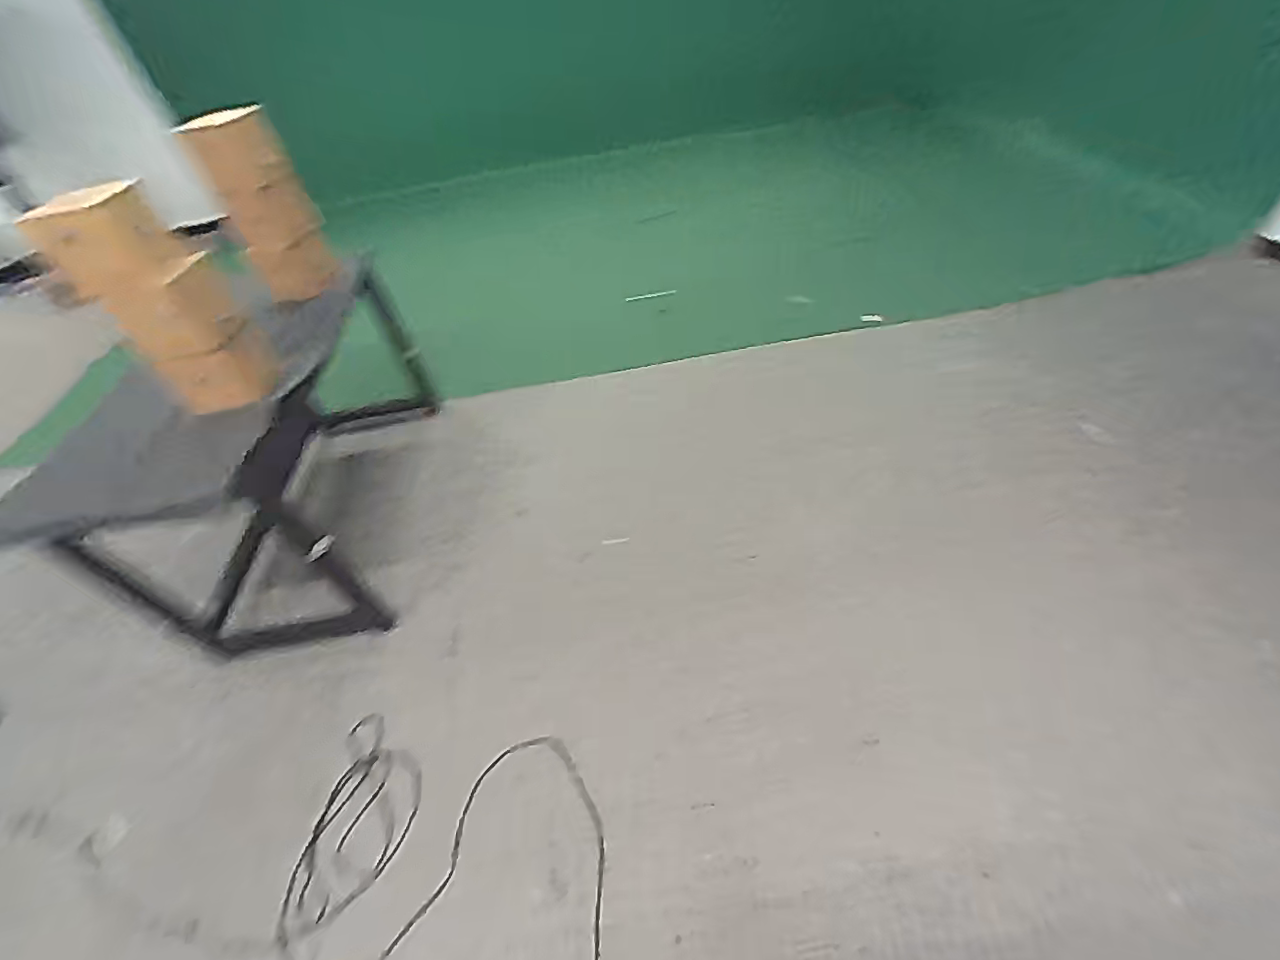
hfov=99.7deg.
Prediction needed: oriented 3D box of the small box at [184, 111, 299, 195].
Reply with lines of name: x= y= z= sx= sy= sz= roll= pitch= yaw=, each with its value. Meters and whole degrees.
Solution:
small box: x=-1.166 y=-0.960 z=1.598 sx=0.179 sy=0.176 sz=0.168 roll=-3 pitch=47 yaw=8

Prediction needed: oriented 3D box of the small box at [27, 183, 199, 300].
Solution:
small box: x=-1.132 y=-0.520 z=1.184 sx=0.179 sy=0.176 sz=0.168 roll=-10 pitch=47 yaw=2

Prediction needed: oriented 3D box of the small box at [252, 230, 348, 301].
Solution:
small box: x=-1.131 y=-0.718 z=1.816 sx=0.179 sy=0.176 sz=0.168 roll=4 pitch=48 yaw=17

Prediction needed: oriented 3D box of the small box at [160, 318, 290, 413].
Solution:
small box: x=-1.075 y=-0.296 z=1.417 sx=0.179 sy=0.176 sz=0.168 roll=-11 pitch=47 yaw=2

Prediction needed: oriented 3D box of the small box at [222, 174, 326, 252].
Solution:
small box: x=-1.147 y=-0.843 z=1.711 sx=0.179 sy=0.176 sz=0.168 roll=0 pitch=46 yaw=14
